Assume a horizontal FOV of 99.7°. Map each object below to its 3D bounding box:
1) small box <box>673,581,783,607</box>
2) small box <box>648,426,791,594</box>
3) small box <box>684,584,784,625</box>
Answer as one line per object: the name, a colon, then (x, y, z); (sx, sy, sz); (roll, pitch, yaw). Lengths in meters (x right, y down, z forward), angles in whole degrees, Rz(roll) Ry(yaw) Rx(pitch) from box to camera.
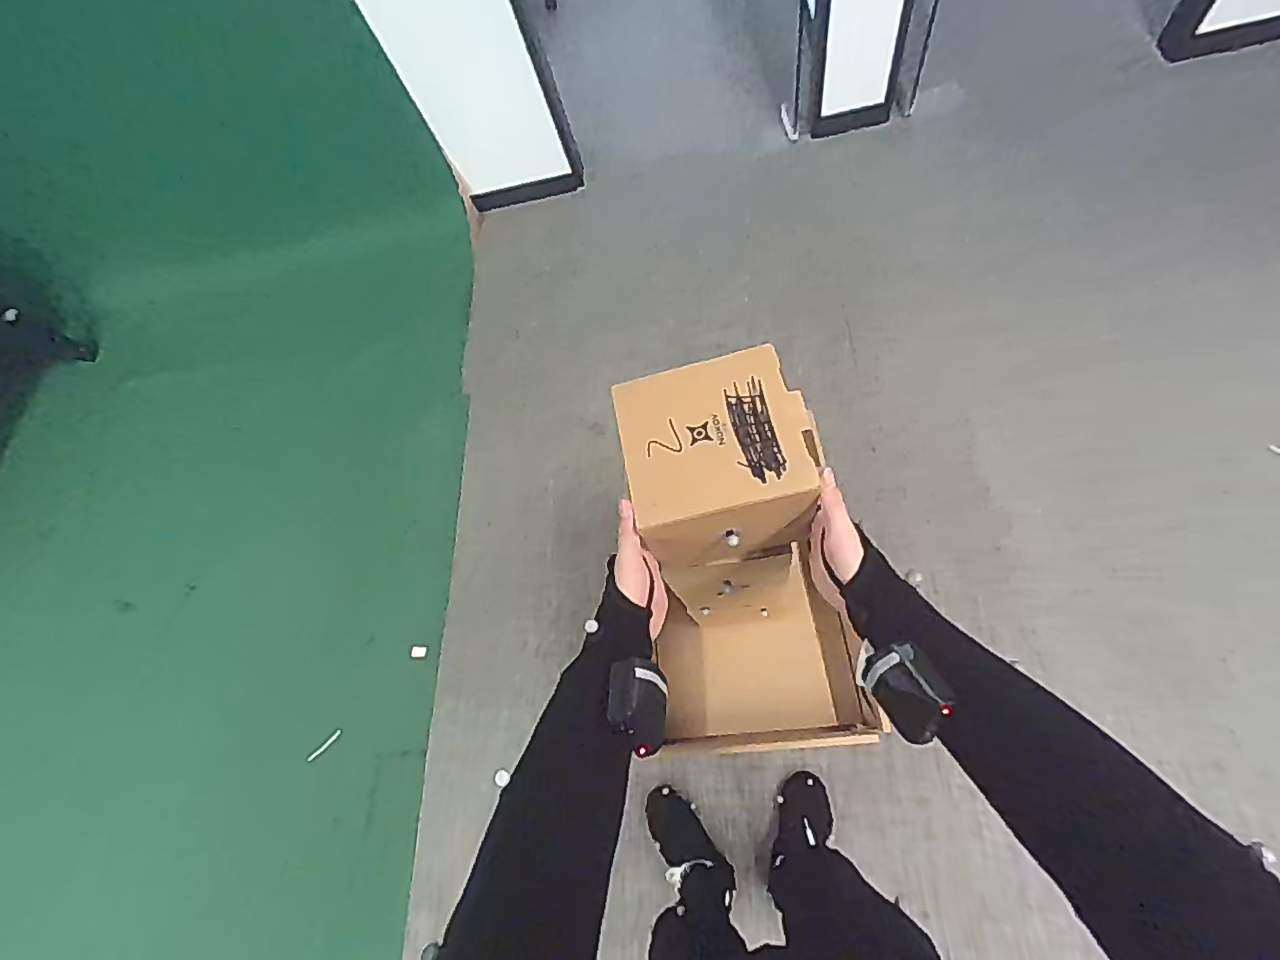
small box: (0.145, 0.111, 0.898); (0.168, 0.176, 0.179); (-6, 65, 10)
small box: (0.109, 0.049, 0.749); (0.168, 0.176, 0.179); (-8, 66, 10)
small box: (0.178, 0.179, 1.044); (0.179, 0.176, 0.168); (-8, 65, 9)
